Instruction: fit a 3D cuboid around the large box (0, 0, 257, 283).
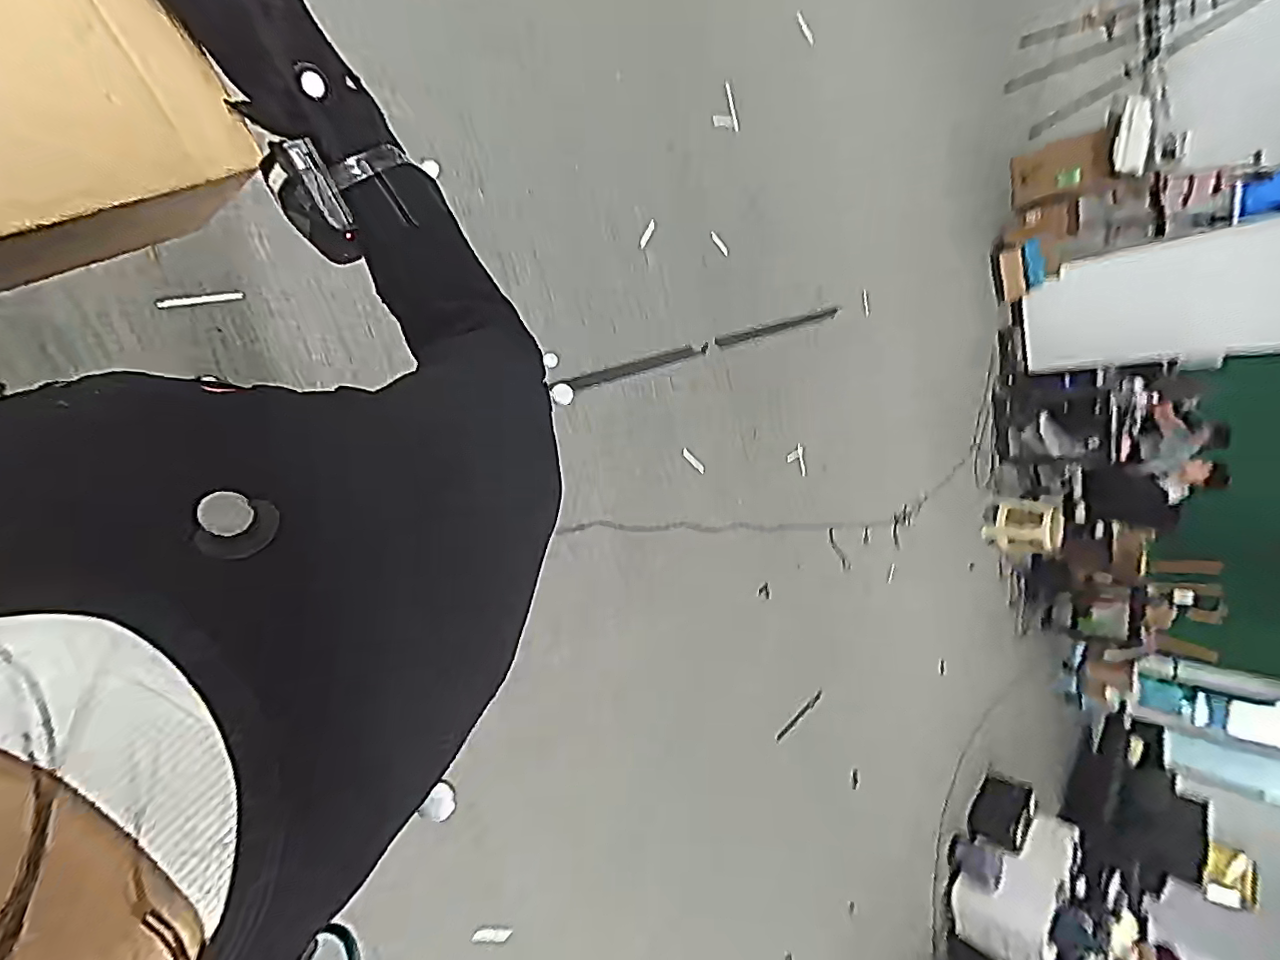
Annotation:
[{"bbox_3d":[-0.528,-0.252,0.284,0.408,0.320,0.320,-41,128,-31],"label":"large box"}]
